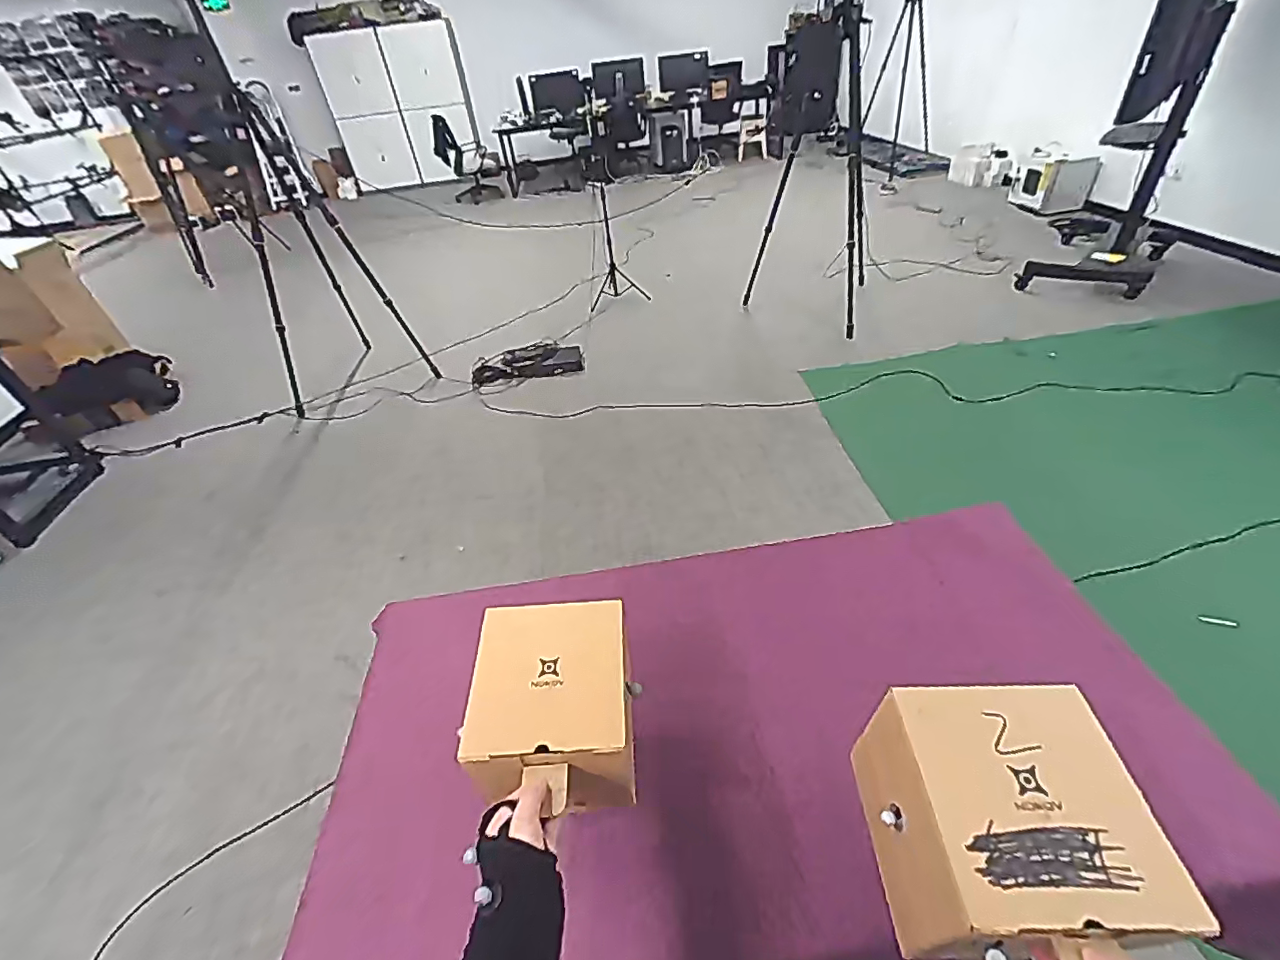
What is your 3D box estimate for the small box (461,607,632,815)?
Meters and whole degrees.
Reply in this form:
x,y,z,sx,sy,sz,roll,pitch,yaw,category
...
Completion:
x,y,z,sx,sy,sz,roll,pitch,yaw,category
-0.097,0.275,0.649,0.168,0.176,0.179,-4,43,0,small box
